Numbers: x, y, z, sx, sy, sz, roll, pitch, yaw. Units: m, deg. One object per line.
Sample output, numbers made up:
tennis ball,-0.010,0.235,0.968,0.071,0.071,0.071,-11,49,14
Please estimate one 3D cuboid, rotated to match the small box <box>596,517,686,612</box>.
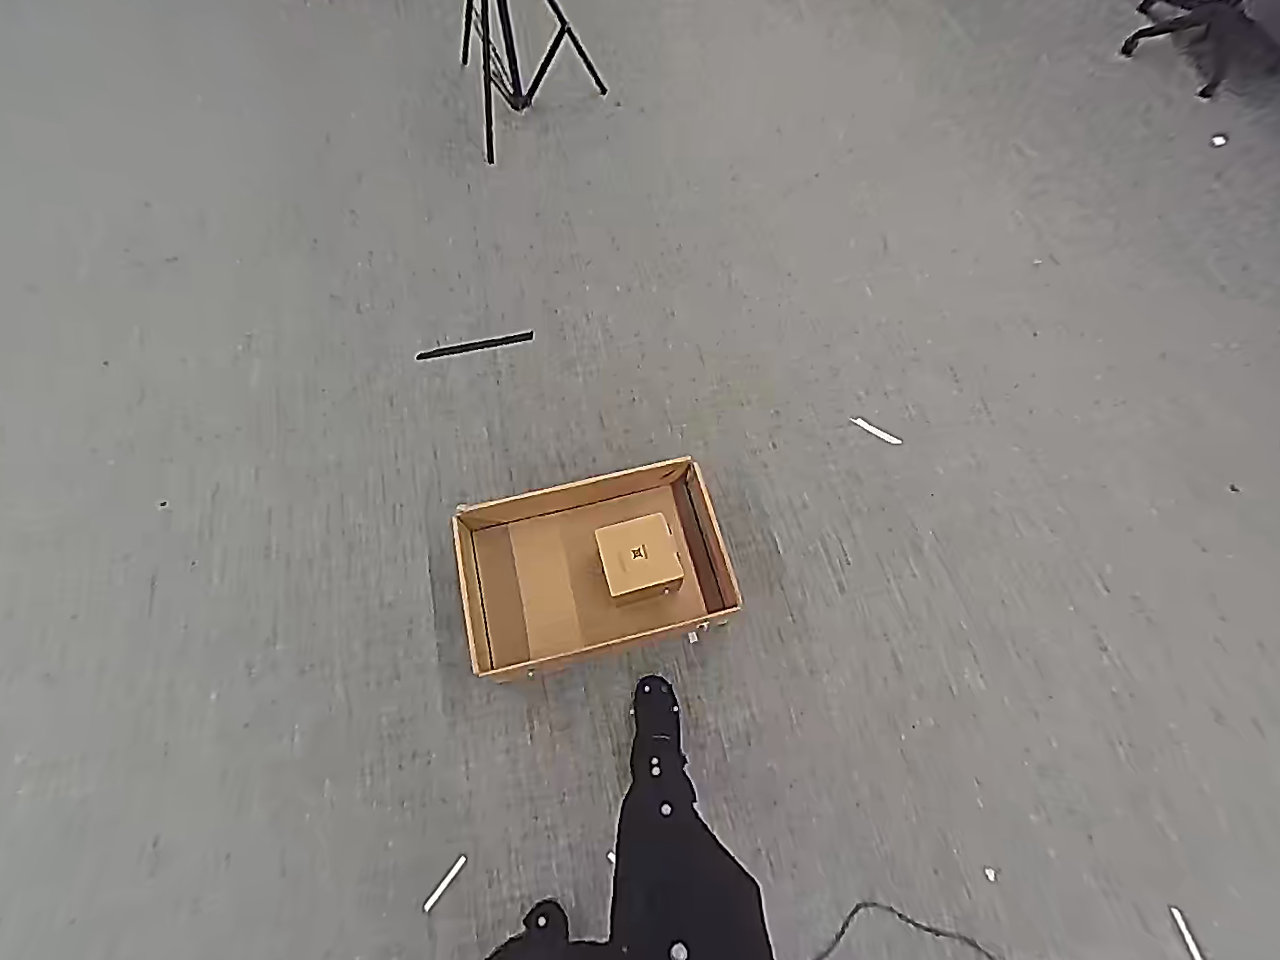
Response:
small box,-0.001,0.210,1.323,0.179,0.176,0.168,-16,68,-6
